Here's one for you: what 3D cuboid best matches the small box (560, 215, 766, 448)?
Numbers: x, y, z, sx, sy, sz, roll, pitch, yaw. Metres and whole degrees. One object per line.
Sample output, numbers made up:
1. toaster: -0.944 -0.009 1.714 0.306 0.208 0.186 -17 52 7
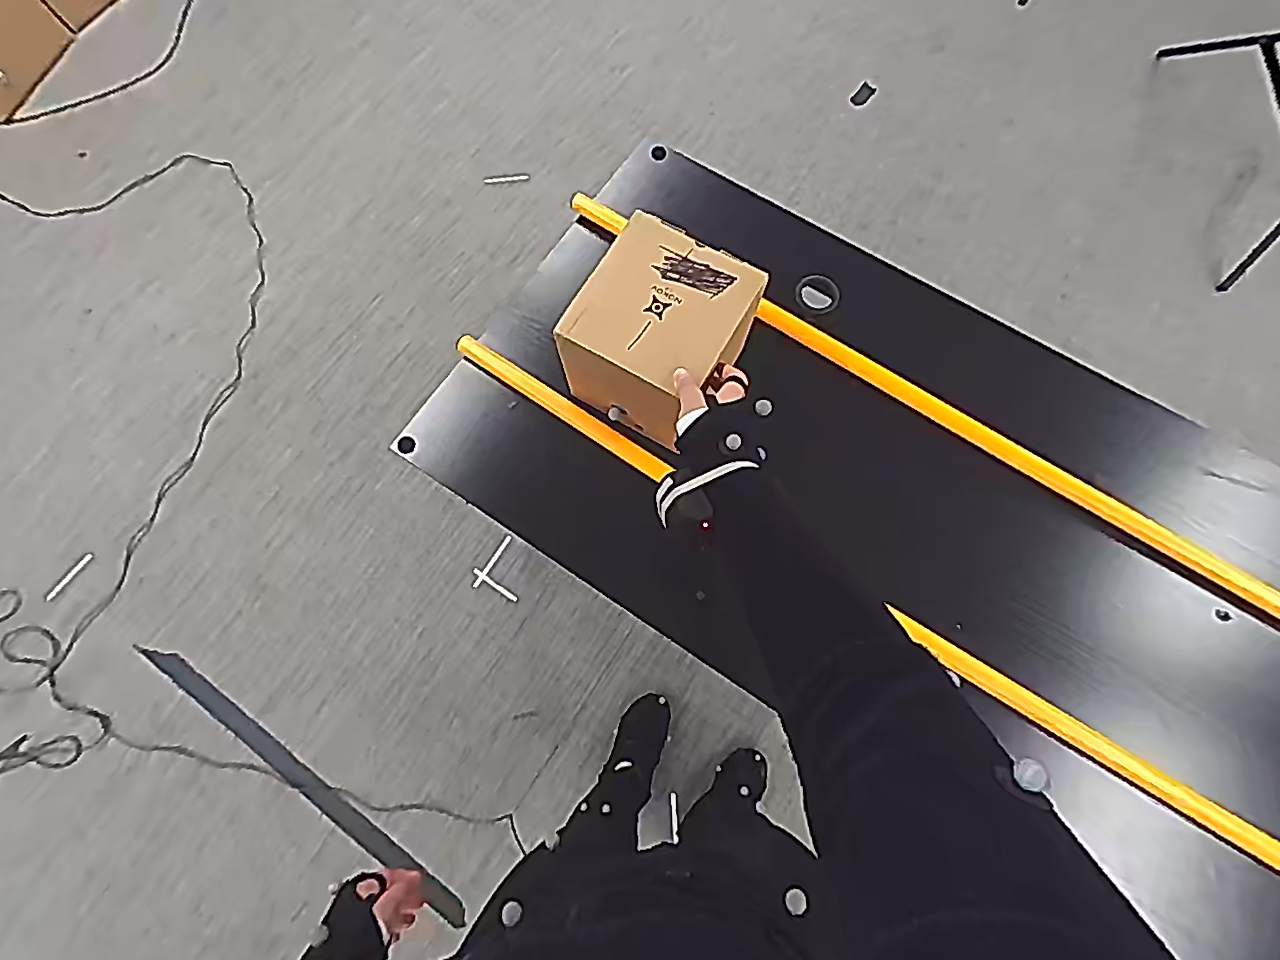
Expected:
1. small box: 0.025 -0.167 0.653 0.168 0.176 0.179 29 78 8
